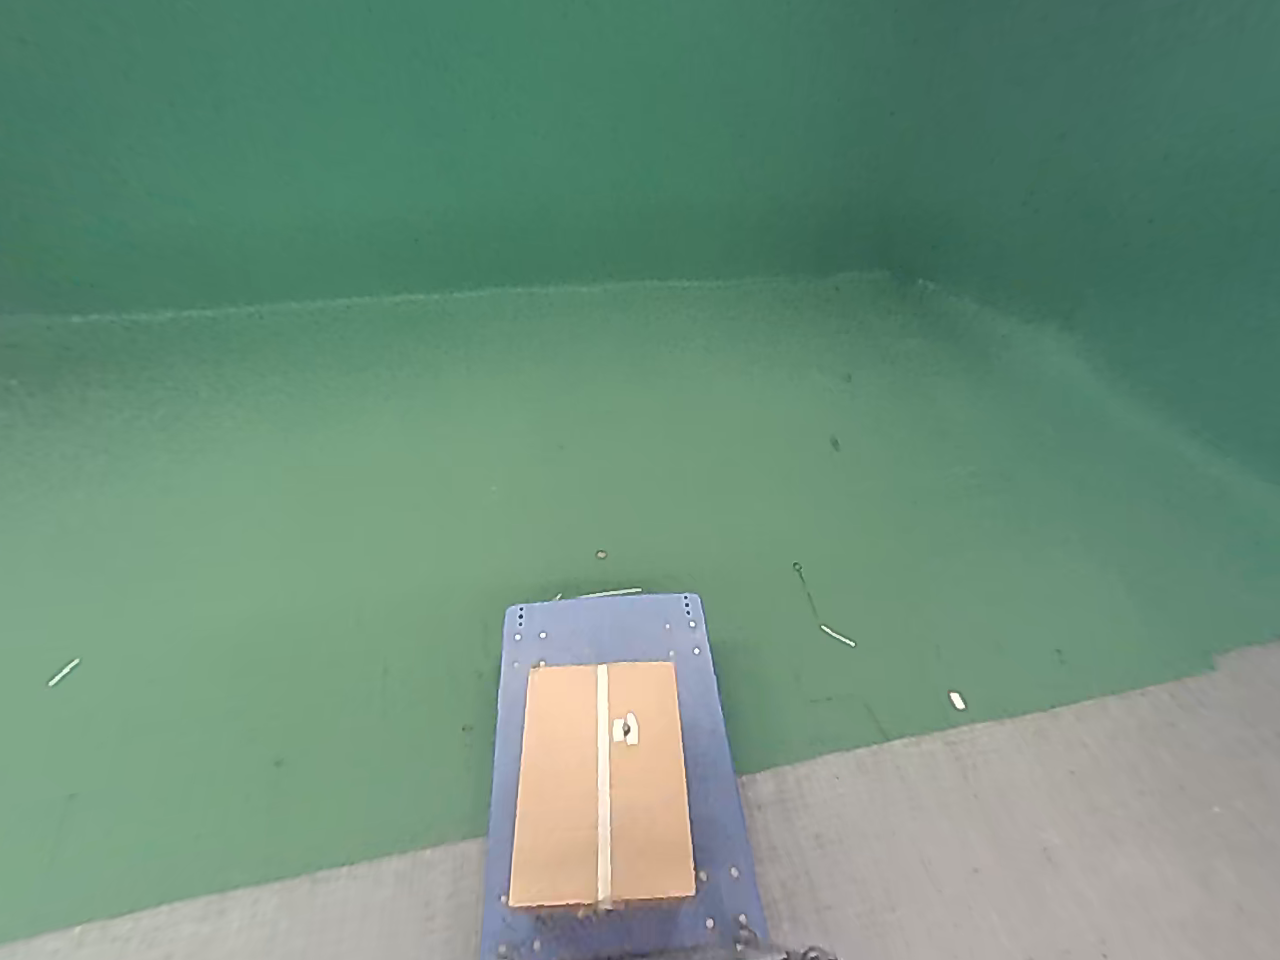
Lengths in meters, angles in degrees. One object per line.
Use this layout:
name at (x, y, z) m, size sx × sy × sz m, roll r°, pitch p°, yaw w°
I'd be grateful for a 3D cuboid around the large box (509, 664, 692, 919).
large box at (-0.079, 0.649, 1.138) m, size 0.320 × 0.320 × 0.408 m, roll -1°, pitch 49°, yaw -4°
